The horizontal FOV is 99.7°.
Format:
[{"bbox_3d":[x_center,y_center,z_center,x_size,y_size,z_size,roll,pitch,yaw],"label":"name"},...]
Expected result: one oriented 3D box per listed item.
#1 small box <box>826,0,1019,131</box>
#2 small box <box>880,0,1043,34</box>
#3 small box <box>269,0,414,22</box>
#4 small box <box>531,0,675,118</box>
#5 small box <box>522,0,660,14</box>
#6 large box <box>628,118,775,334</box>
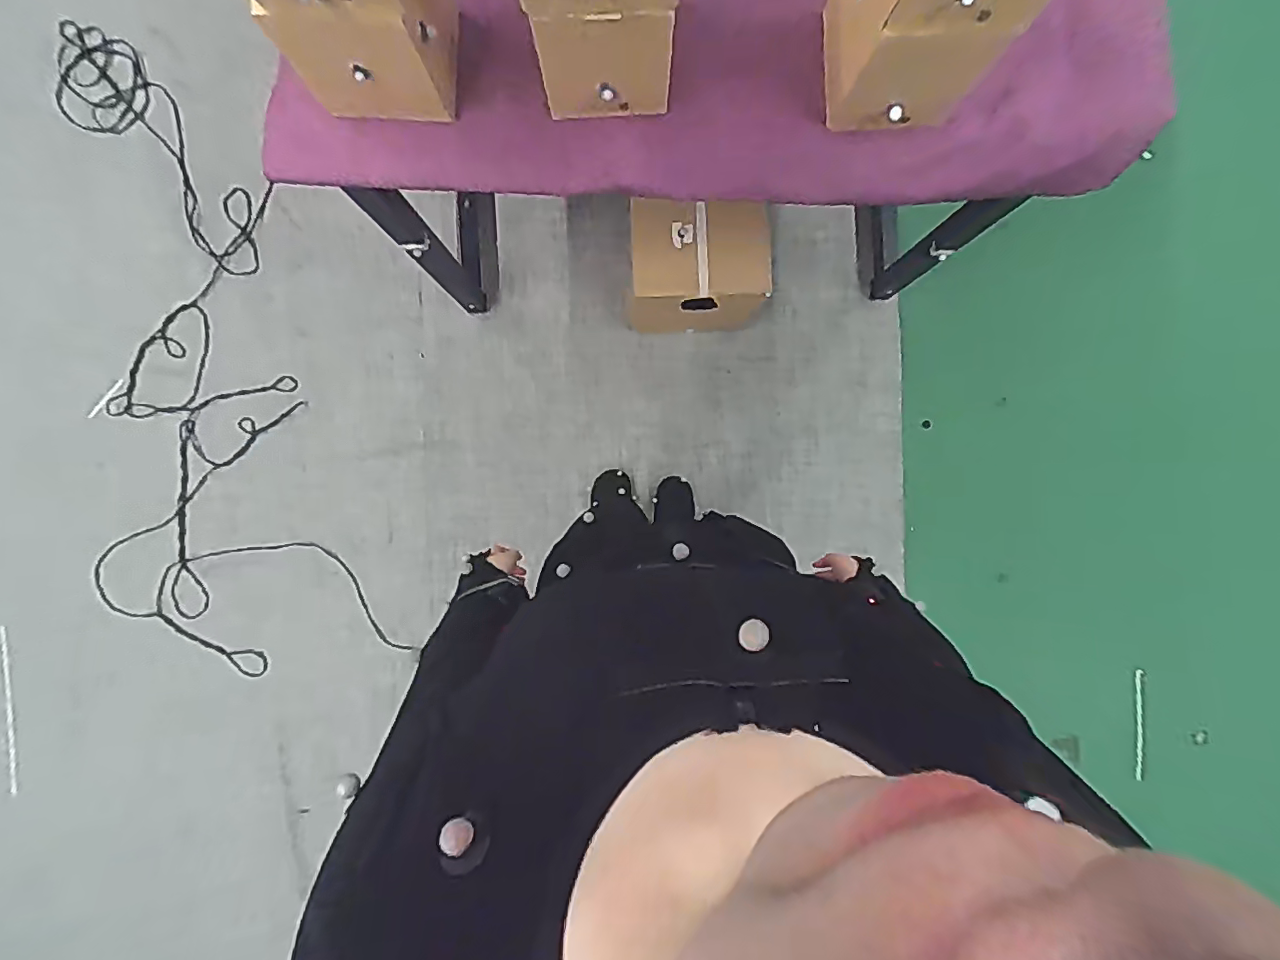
[{"bbox_3d":[0.348,-0.590,0.696,0.168,0.176,0.179,-2,91,0],"label":"small box"},{"bbox_3d":[0.350,-0.594,0.534,0.168,0.176,0.179,-2,90,0],"label":"small box"},{"bbox_3d":[-0.331,-0.603,0.525,0.168,0.176,0.179,1,90,1],"label":"small box"},{"bbox_3d":[-0.047,-0.605,0.691,0.168,0.176,0.179,-3,89,0],"label":"small box"},{"bbox_3d":[-0.047,-0.605,0.527,0.179,0.176,0.168,-4,88,-1],"label":"small box"},{"bbox_3d":[0.138,-0.607,1.356,0.320,0.320,0.408,-2,91,0],"label":"large box"}]
